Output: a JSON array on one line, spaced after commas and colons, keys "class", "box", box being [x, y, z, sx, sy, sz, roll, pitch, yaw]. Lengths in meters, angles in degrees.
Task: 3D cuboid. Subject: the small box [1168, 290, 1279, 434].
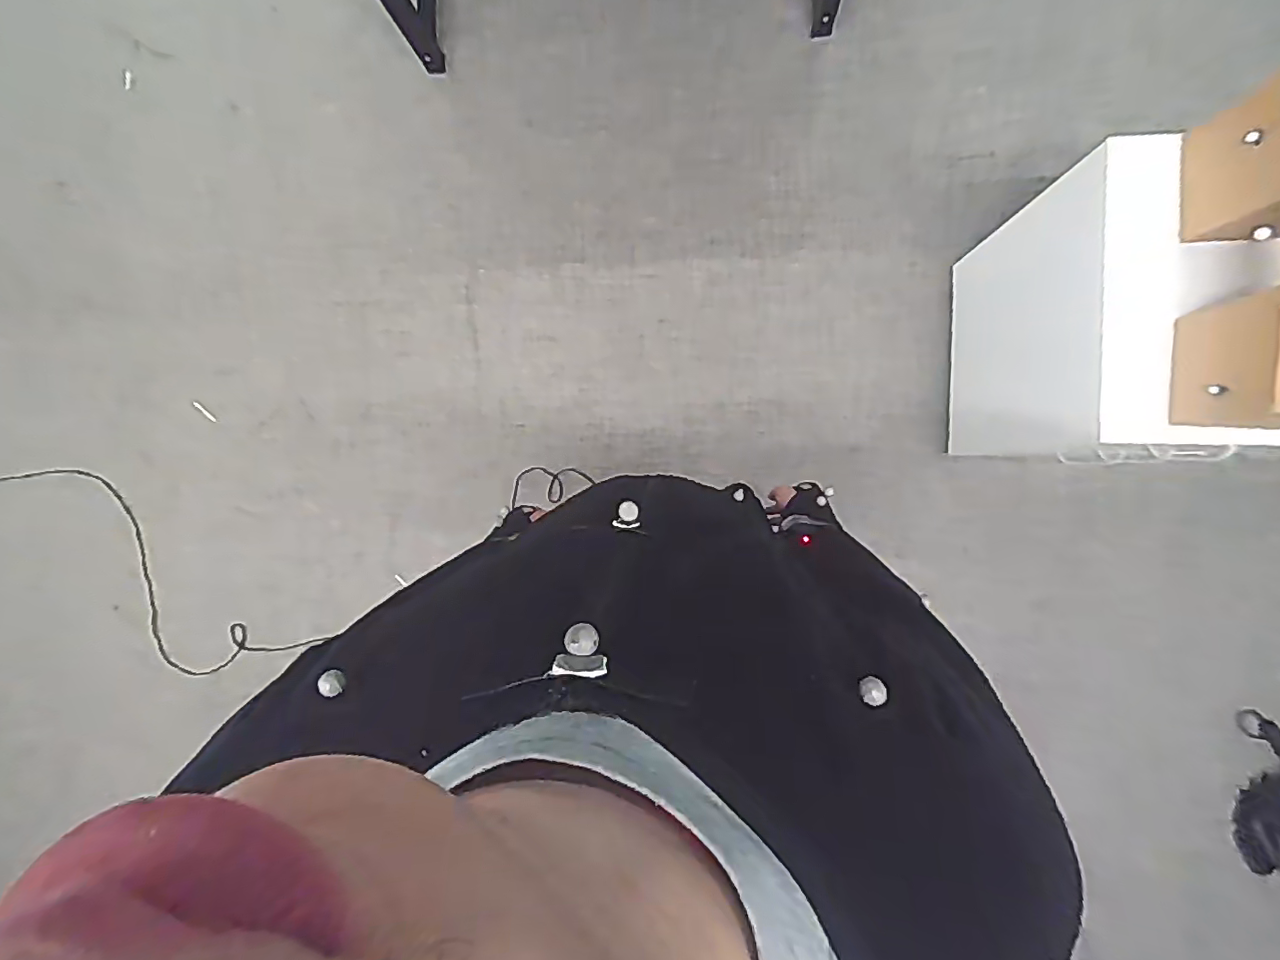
[{"class": "small box", "box": [0.931, -0.161, 0.791, 0.168, 0.176, 0.179, 3, 89, 5]}]

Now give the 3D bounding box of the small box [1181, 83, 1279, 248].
[{"class": "small box", "box": [0.946, -0.459, 0.783, 0.168, 0.176, 0.179, 0, 92, 7]}]
